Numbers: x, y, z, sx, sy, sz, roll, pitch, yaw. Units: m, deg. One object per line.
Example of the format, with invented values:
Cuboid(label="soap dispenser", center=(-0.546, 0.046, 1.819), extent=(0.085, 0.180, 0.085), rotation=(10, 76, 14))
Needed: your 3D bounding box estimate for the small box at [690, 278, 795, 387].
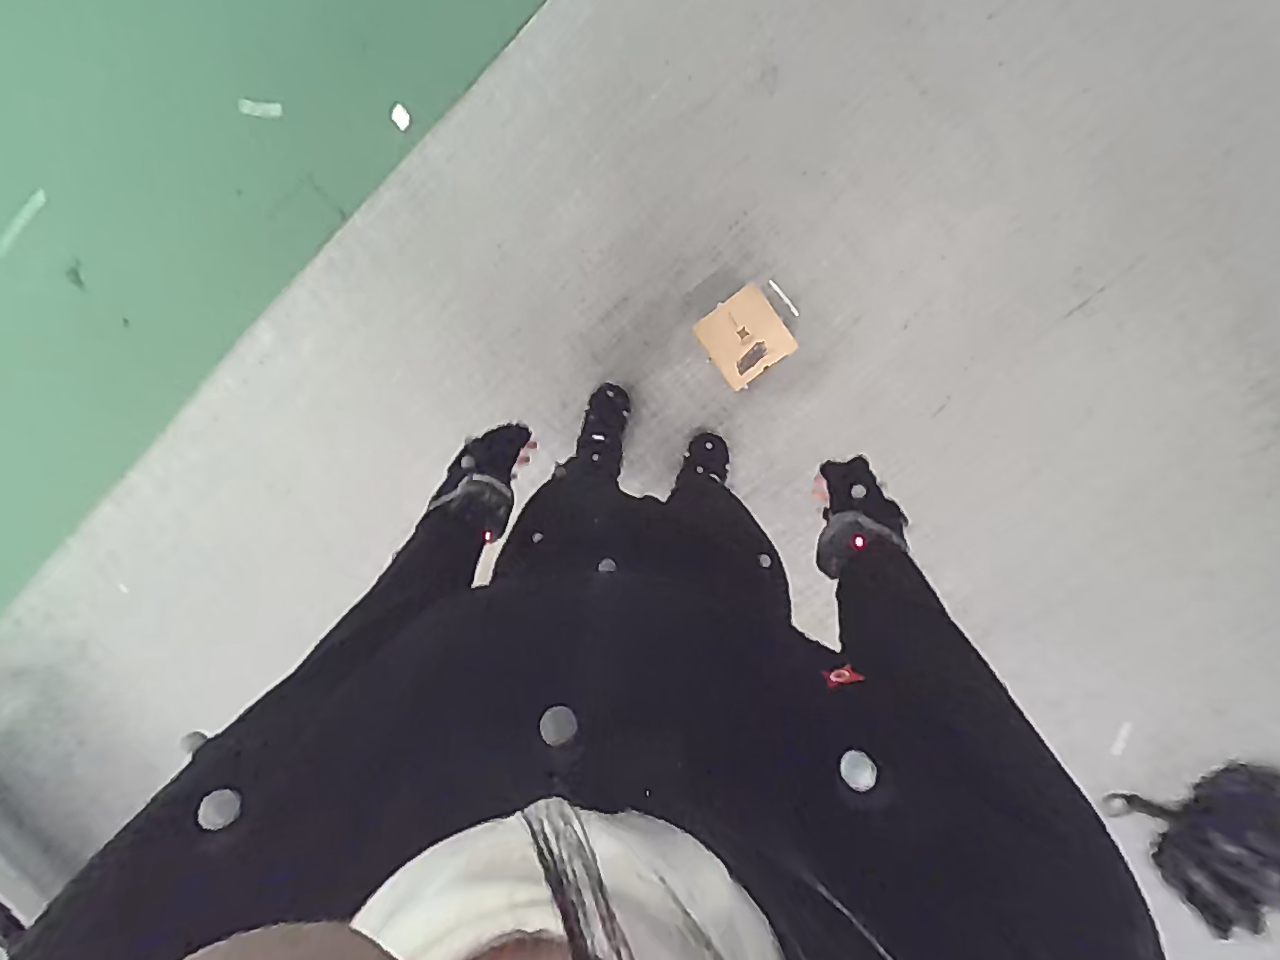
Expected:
Cuboid(label="small box", center=(0.234, -0.335, 1.255), extent=(0.168, 0.176, 0.179), rotation=(-34, 93, 12))
